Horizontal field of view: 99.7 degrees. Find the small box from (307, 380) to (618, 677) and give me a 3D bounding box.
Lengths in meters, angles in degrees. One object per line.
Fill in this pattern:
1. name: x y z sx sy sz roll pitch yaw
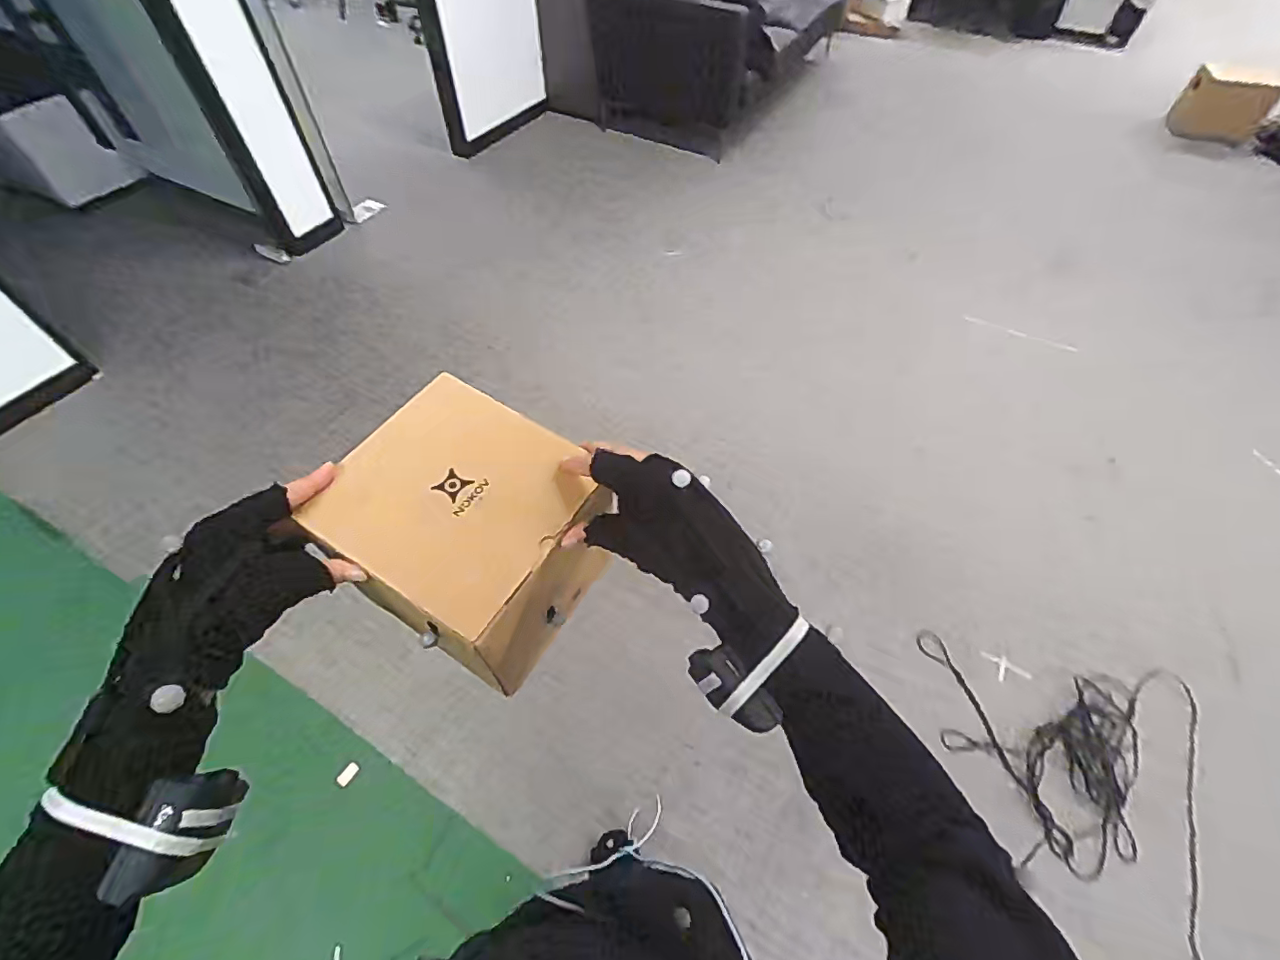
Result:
1. small box: -0.138 0.051 0.482 0.179 0.176 0.168 29 60 13
